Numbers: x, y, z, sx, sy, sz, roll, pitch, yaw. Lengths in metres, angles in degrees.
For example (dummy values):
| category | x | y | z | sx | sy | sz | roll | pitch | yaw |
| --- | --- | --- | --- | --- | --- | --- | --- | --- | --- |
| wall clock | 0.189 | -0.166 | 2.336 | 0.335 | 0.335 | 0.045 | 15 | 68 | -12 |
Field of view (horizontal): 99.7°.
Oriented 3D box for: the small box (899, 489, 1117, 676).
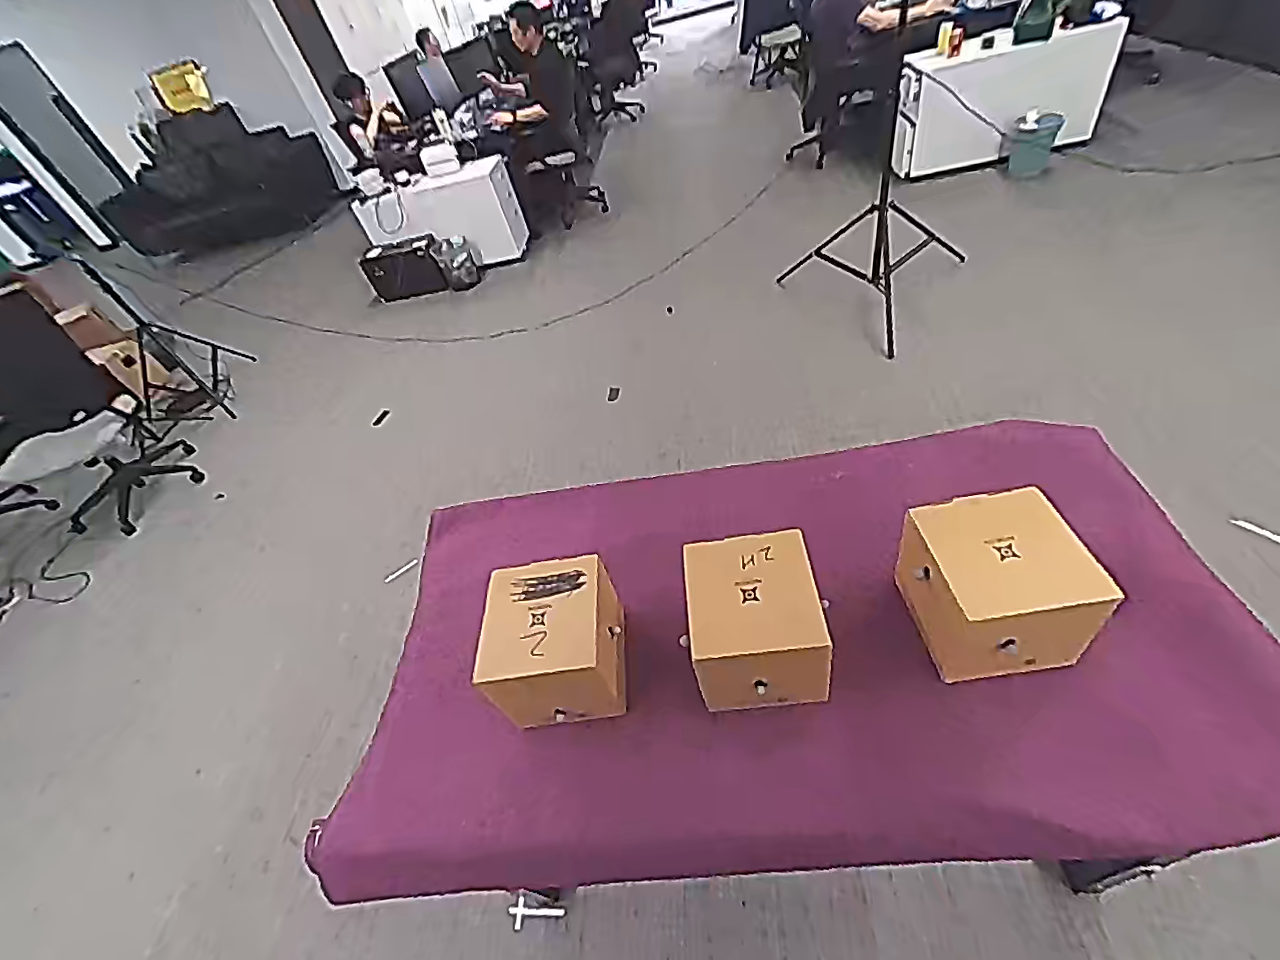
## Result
| category | x | y | z | sx | sy | sz | roll | pitch | yaw |
| --- | --- | --- | --- | --- | --- | --- | --- | --- | --- |
| small box | 0.463 | 0.143 | 0.718 | 0.168 | 0.176 | 0.179 | -11 | 43 | 7 |

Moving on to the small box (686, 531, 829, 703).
| category | x | y | z | sx | sy | sz | roll | pitch | yaw |
| --- | --- | --- | --- | --- | --- | --- | --- | --- | --- |
| small box | 0.161 | 0.198 | 0.756 | 0.168 | 0.176 | 0.179 | -8 | 45 | 8 |
